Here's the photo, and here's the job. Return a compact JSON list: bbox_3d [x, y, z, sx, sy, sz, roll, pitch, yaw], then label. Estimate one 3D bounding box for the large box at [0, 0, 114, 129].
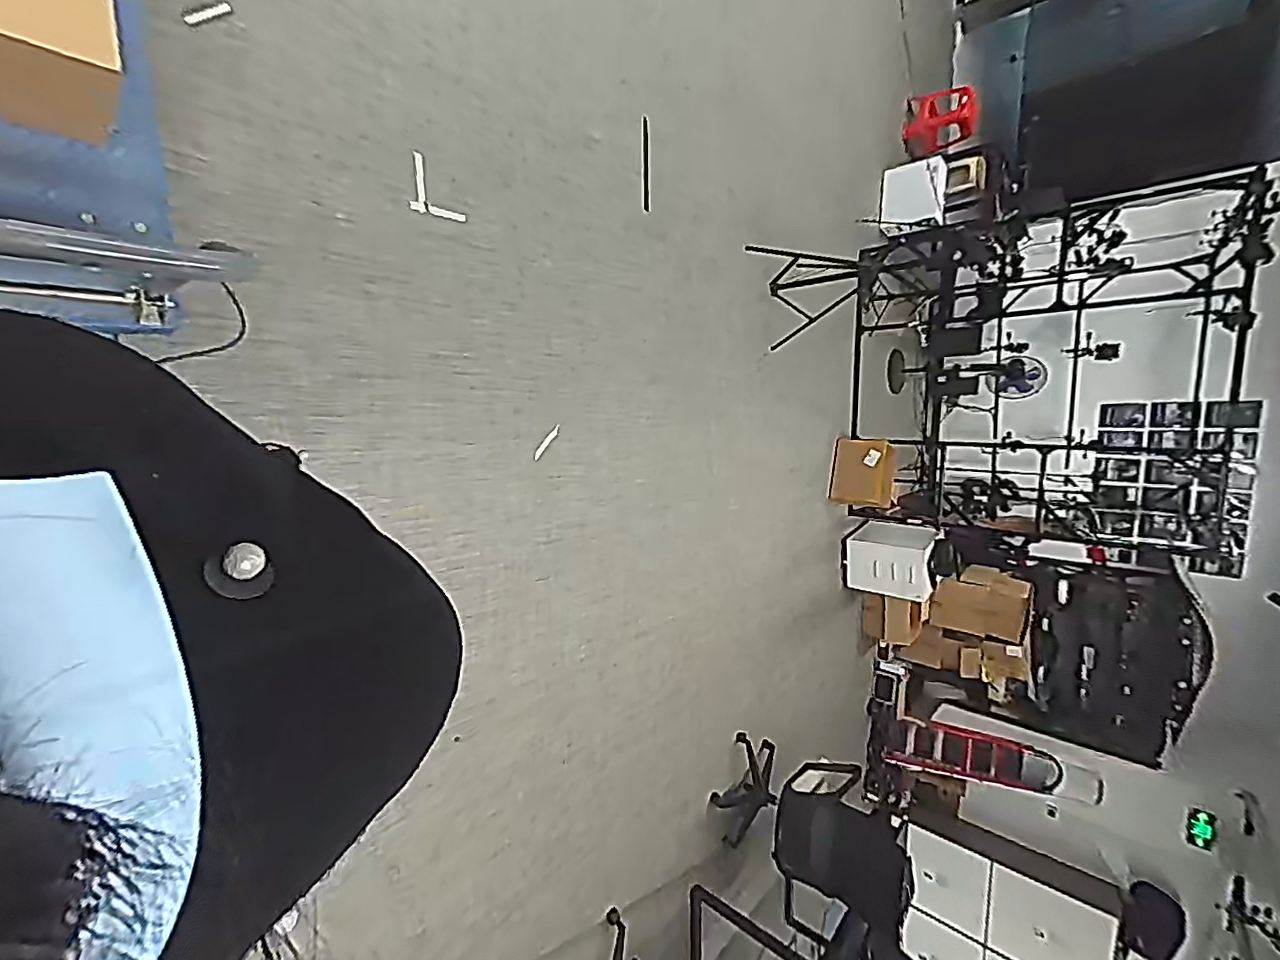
[{"bbox_3d":[-0.972,-0.716,0.678,0.408,0.320,0.320,-10,101,-47],"label":"large box"}]
